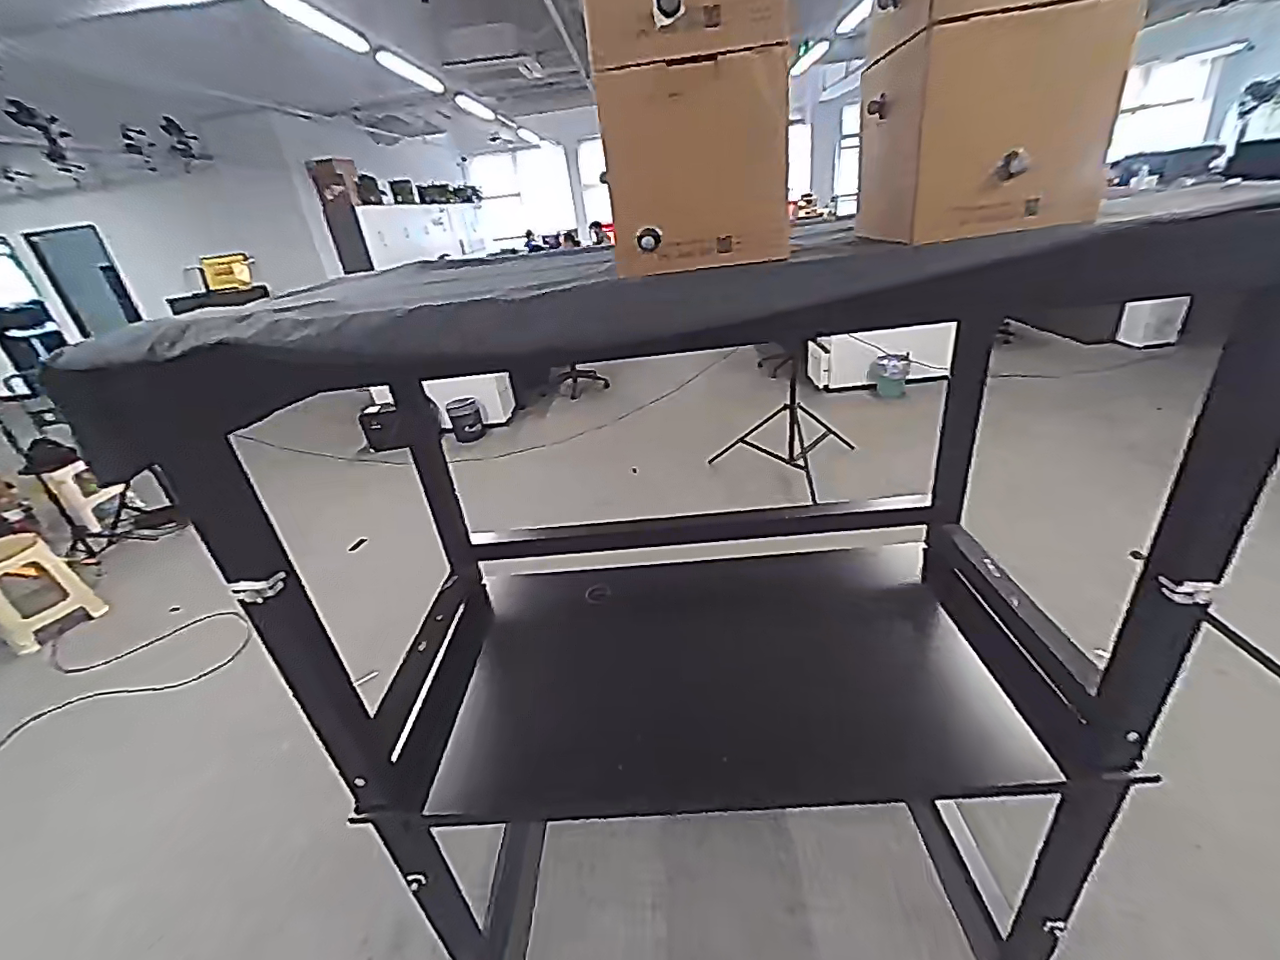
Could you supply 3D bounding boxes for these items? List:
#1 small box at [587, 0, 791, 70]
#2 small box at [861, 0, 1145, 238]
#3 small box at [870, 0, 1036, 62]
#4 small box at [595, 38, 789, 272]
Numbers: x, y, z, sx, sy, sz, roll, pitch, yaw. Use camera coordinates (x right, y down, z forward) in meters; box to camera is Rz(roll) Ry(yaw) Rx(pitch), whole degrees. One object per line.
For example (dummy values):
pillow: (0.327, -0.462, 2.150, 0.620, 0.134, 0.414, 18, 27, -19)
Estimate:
small box: (0.038, -0.460, 0.488, 0.168, 0.176, 0.179, -6, 26, 6)
small box: (0.328, -0.340, 0.536, 0.168, 0.176, 0.179, -6, 26, 6)
small box: (0.310, -0.486, 0.464, 0.168, 0.176, 0.179, -5, 27, 6)
small box: (0.055, -0.313, 0.556, 0.168, 0.176, 0.179, -5, 25, 4)
